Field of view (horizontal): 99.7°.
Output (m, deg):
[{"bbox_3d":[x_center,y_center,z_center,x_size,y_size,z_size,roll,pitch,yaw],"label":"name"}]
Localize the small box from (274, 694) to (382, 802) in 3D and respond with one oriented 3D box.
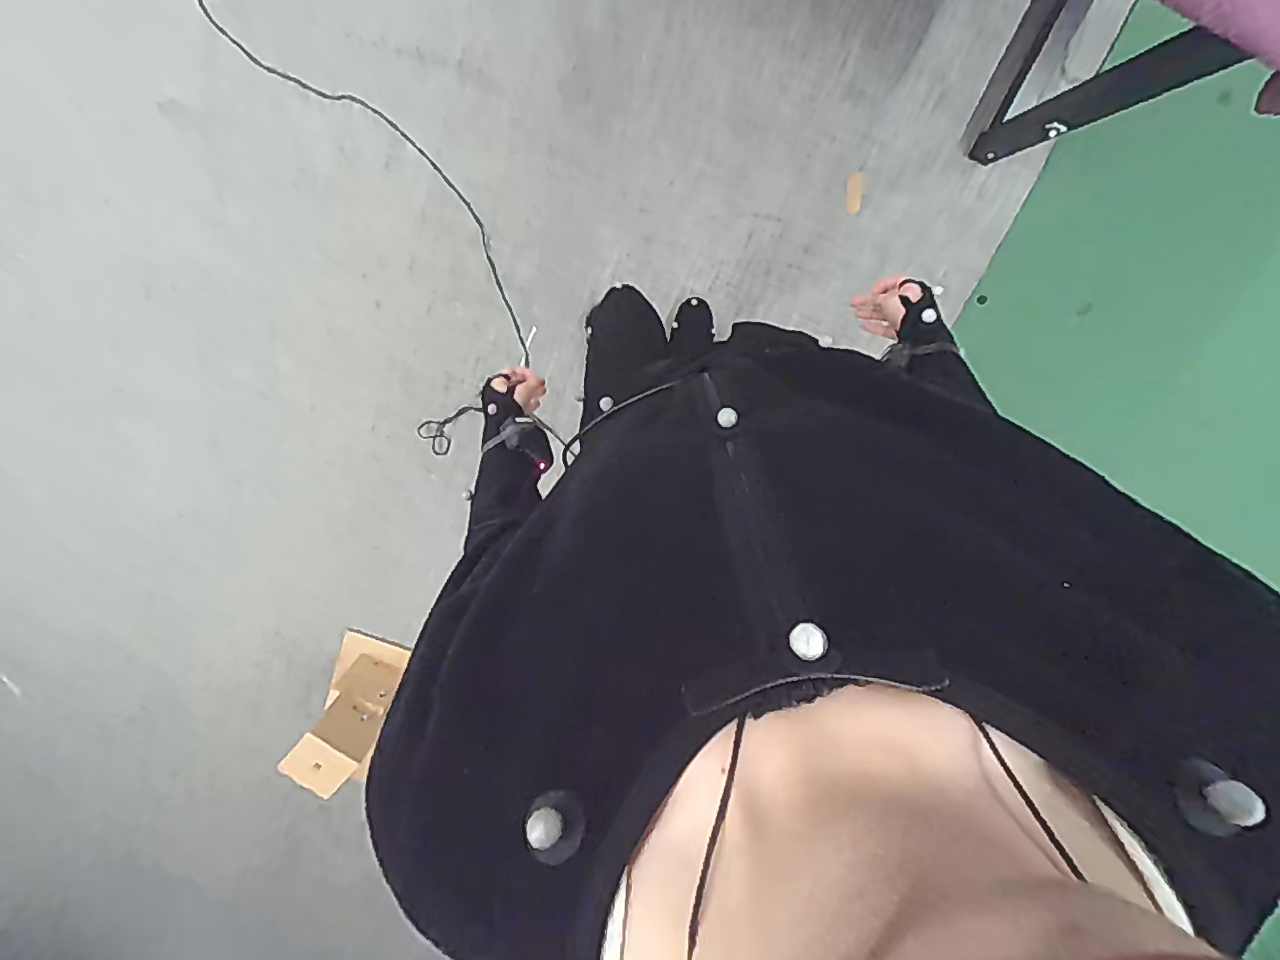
[{"bbox_3d":[-0.868,0.751,1.524,0.168,0.176,0.179,41,105,-11],"label":"small box"}]
